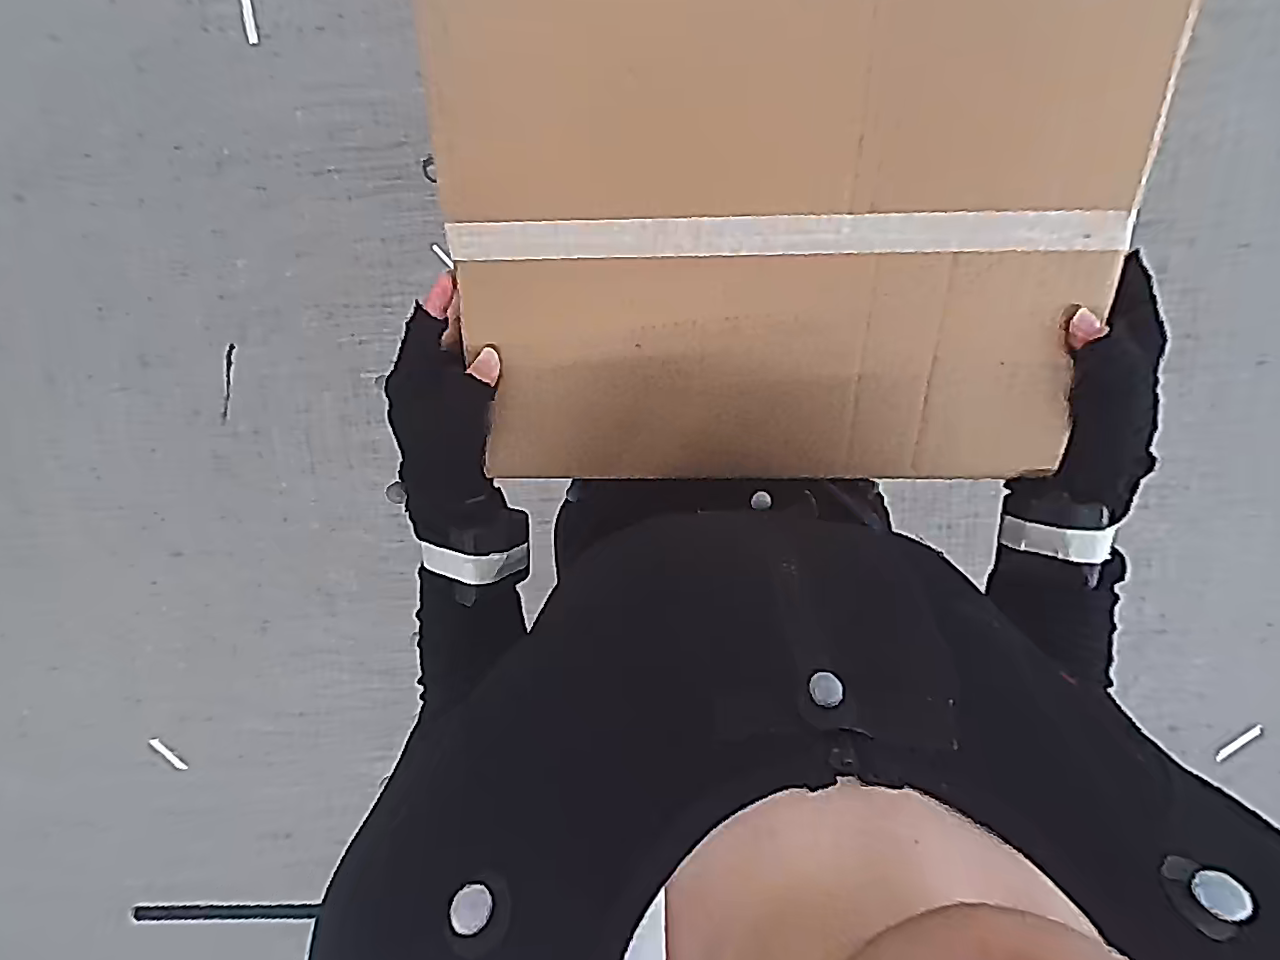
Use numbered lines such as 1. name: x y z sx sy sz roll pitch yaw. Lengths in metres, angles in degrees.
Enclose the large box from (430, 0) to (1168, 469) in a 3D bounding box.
1. large box: 0.087 -0.209 0.474 0.408 0.320 0.320 0 114 1
